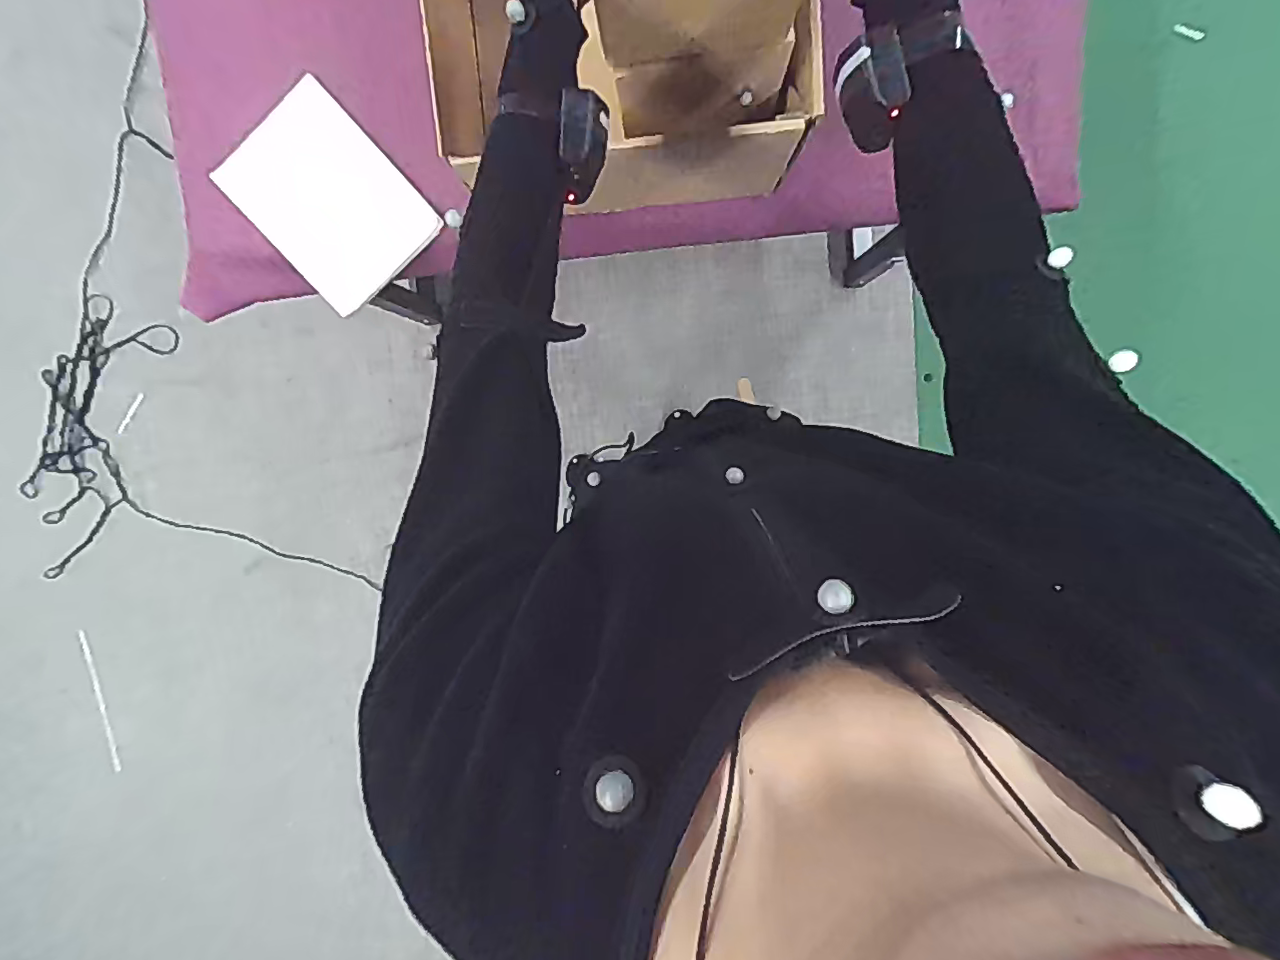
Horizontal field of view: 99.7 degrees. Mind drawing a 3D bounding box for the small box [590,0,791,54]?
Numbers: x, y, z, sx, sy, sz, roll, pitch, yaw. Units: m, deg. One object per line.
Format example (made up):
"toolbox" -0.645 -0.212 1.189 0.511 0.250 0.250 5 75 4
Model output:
"small box" 0.039 -0.462 0.407 0.179 0.176 0.168 -6 99 1
